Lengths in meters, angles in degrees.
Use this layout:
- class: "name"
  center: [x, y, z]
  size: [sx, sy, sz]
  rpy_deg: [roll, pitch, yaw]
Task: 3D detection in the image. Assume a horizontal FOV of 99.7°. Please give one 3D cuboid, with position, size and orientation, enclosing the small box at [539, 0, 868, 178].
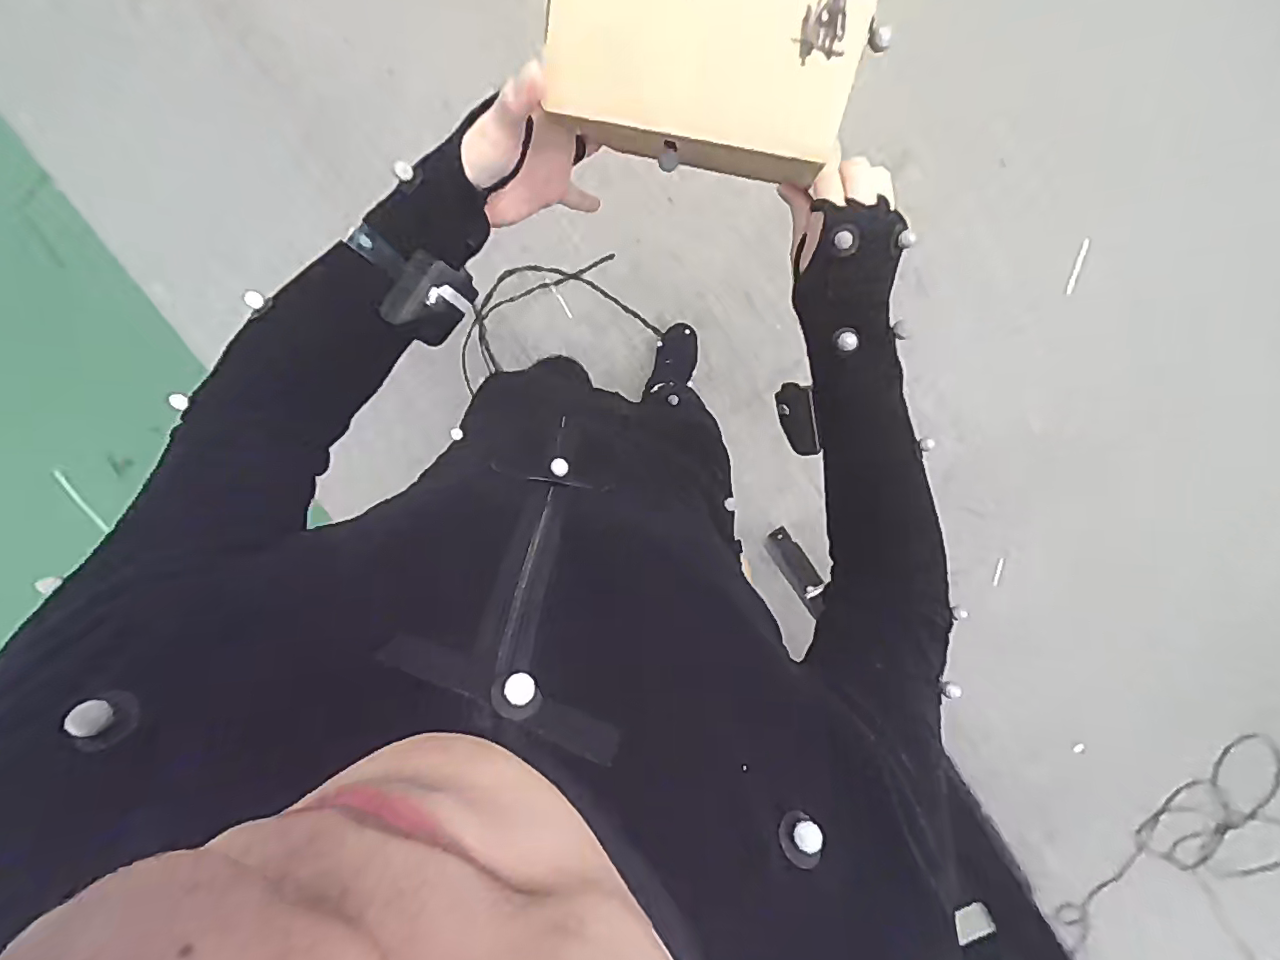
- class: "small box"
  center: [0.054, -0.308, 0.352]
  size: [0.179, 0.176, 0.168]
  rpy_deg: [14, 115, 7]
